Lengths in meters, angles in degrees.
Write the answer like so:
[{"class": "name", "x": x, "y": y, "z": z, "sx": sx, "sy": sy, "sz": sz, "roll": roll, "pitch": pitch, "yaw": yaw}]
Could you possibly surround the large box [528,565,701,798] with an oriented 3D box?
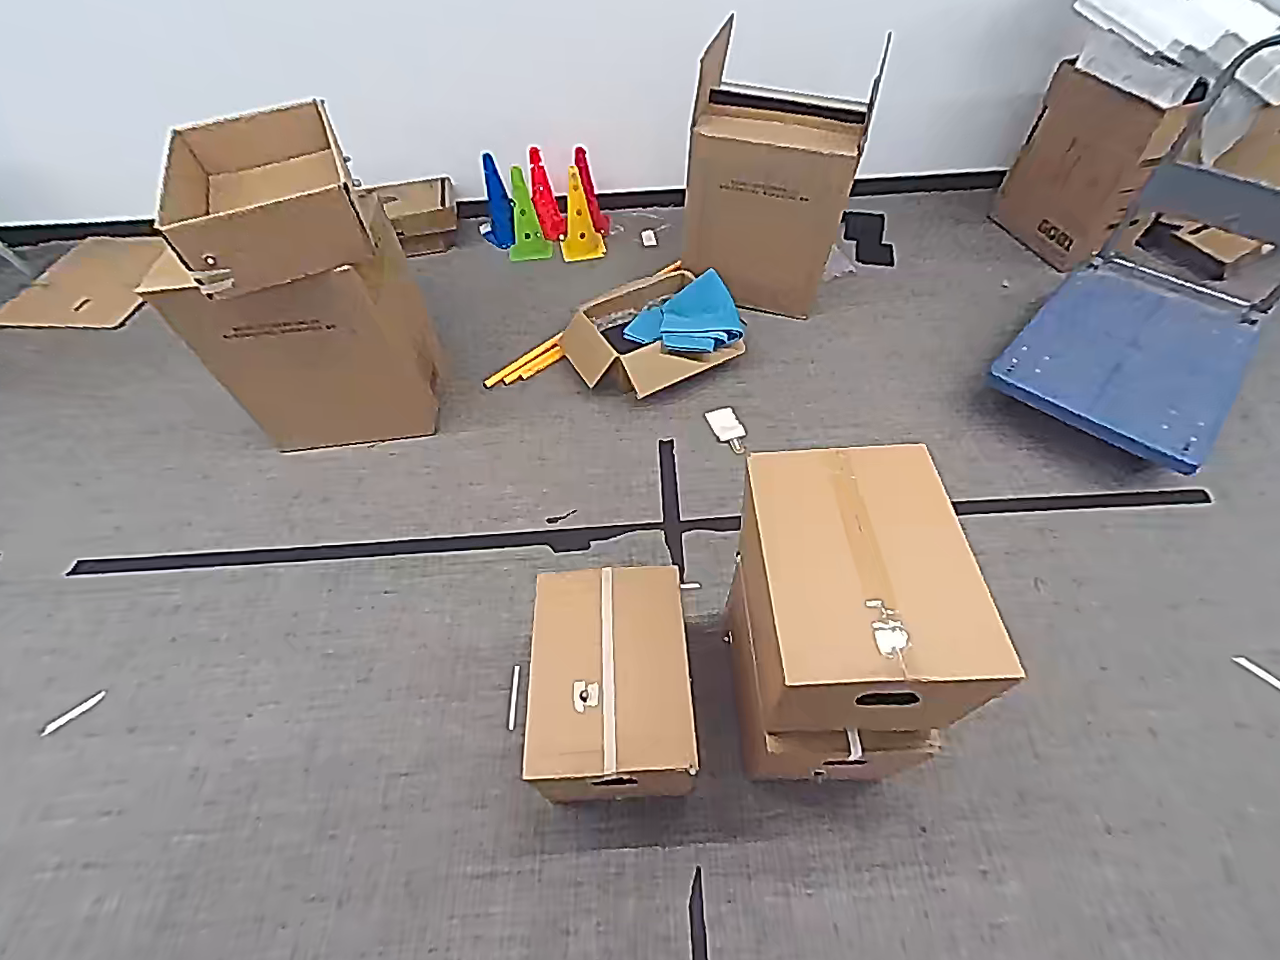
[{"class": "large box", "x": -0.056, "y": 0.442, "z": 1.186, "sx": 0.320, "sy": 0.320, "sz": 0.408, "roll": -4, "pitch": 54, "yaw": 0}]
